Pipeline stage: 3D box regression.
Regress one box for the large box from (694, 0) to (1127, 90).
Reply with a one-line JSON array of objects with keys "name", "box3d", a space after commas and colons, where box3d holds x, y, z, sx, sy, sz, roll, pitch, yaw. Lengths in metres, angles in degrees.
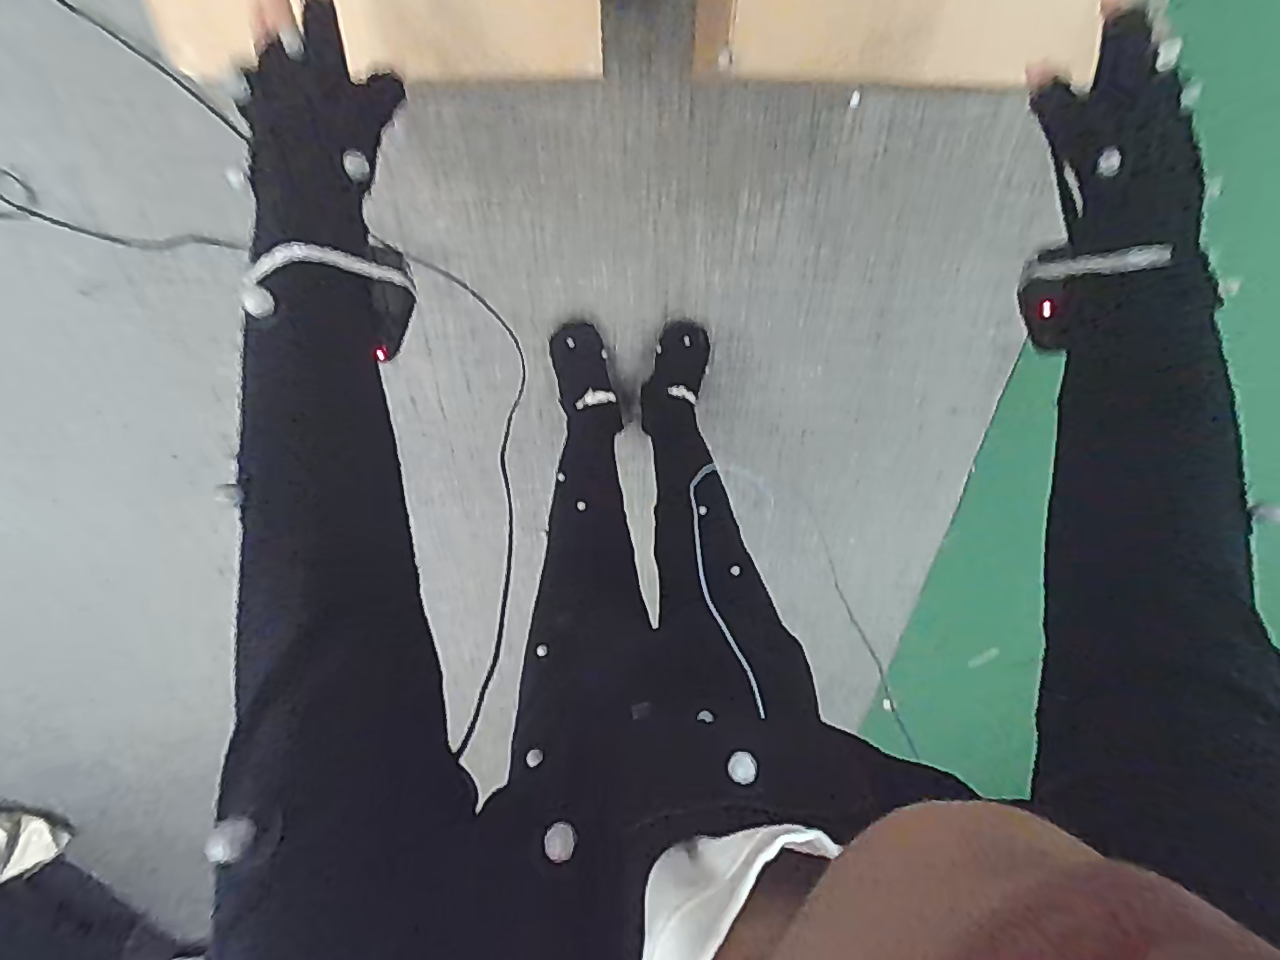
[{"name": "large box", "box3d": [0.289, -0.634, 0.605, 0.408, 0.320, 0.320, 0, 125, -3]}]
